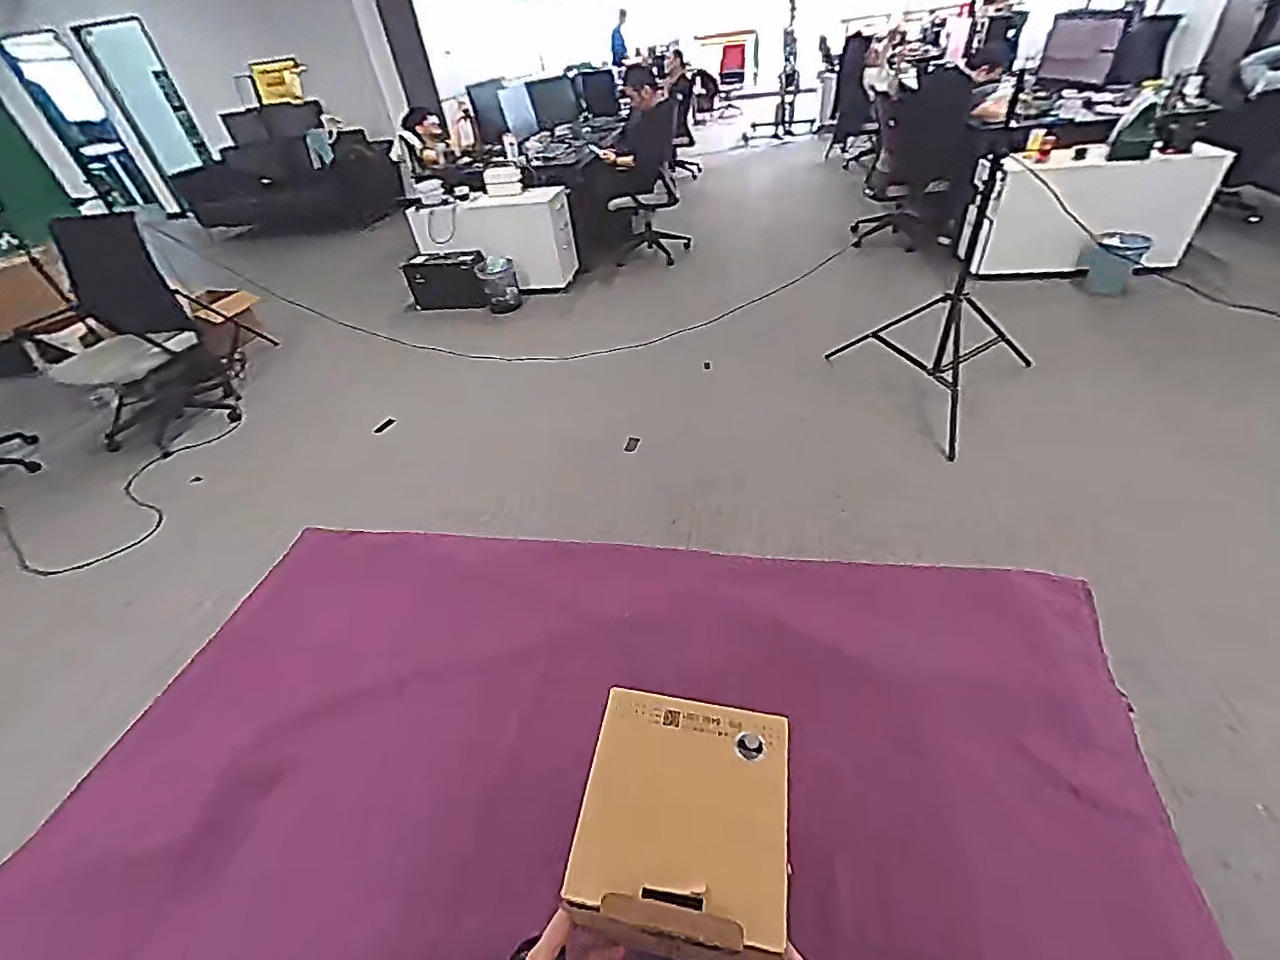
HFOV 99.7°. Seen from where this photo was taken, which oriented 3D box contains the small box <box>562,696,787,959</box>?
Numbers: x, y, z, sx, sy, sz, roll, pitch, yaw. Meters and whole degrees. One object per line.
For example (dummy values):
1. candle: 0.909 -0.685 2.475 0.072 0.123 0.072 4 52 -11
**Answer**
1. small box: 0.038 0.322 0.499 0.168 0.179 0.176 7 44 10
